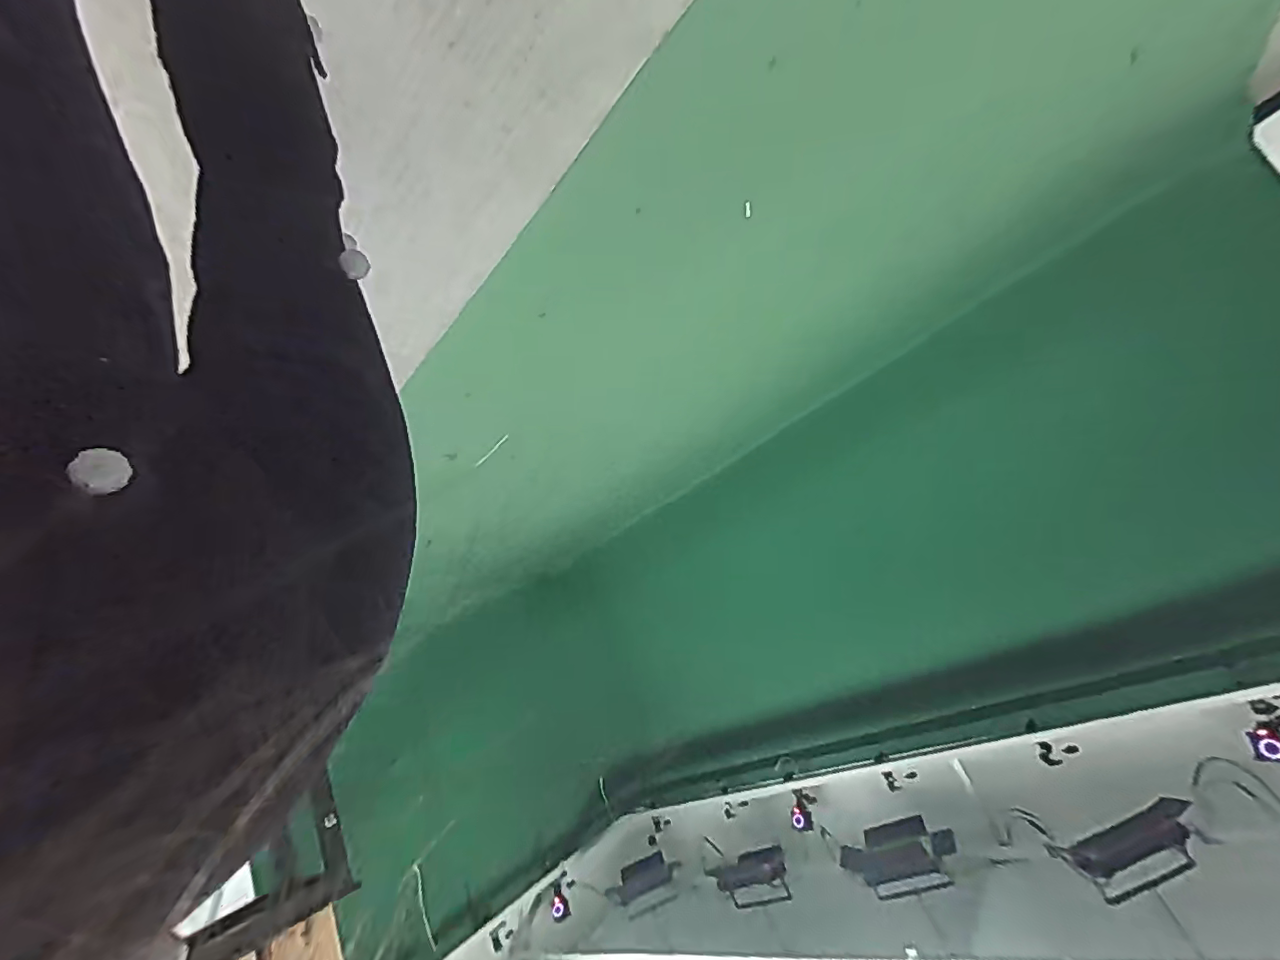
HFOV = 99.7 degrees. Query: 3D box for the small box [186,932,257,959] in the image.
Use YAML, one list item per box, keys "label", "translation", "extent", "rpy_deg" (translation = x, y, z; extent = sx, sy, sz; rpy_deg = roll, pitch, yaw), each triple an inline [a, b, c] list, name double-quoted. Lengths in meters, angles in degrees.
- label: "small box"
  translation: [-1.114, 1.321, 1.409]
  extent: [0.179, 0.176, 0.168]
  rpy_deg: [-34, 161, 34]
